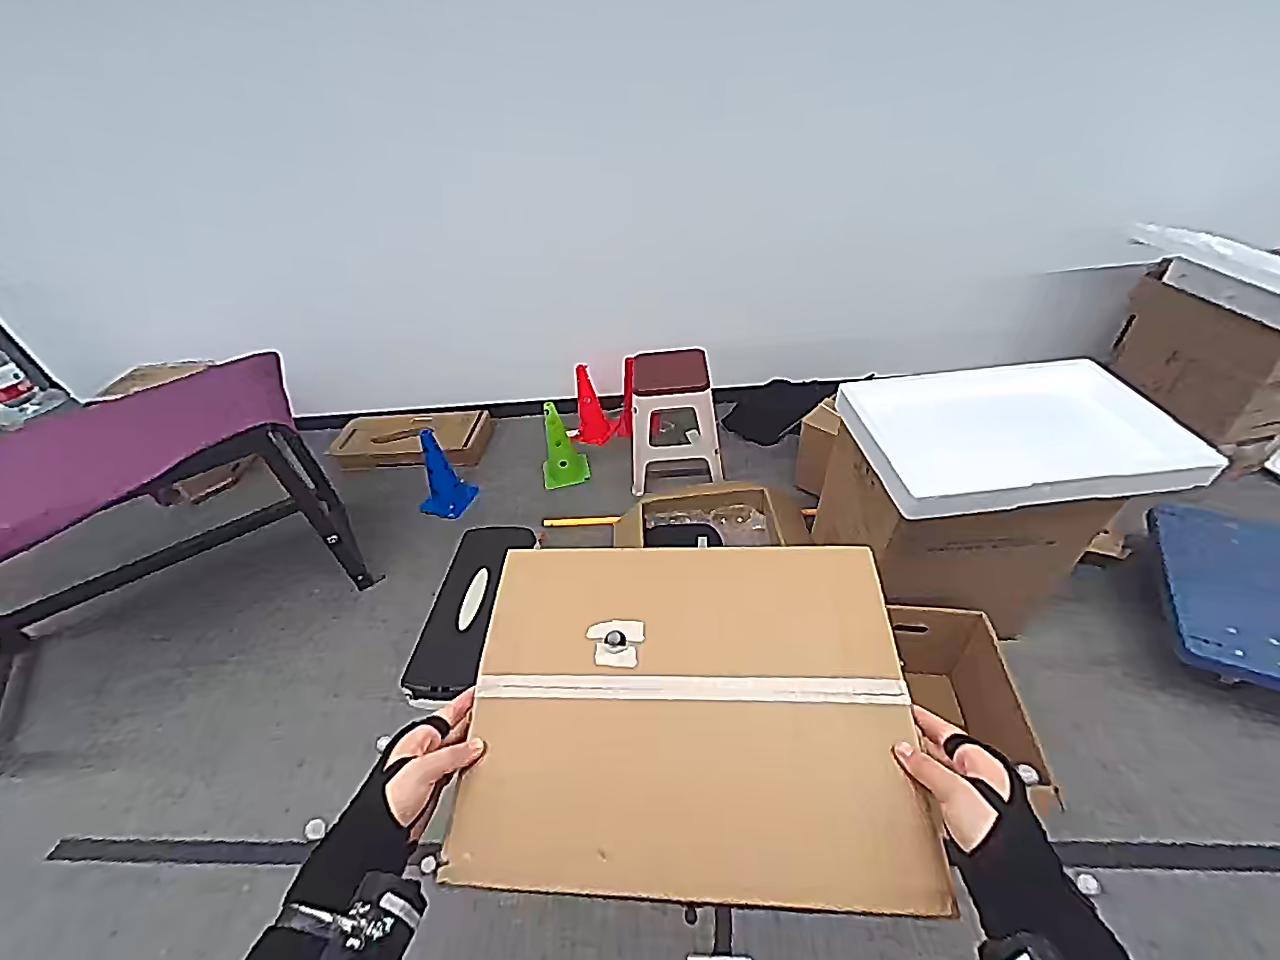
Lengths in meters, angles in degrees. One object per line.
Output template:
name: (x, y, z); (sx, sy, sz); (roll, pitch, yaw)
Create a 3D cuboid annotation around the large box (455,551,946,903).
large box: (0.062, 0.300, 0.640); (0.408, 0.320, 0.320); (-2, 50, 7)
